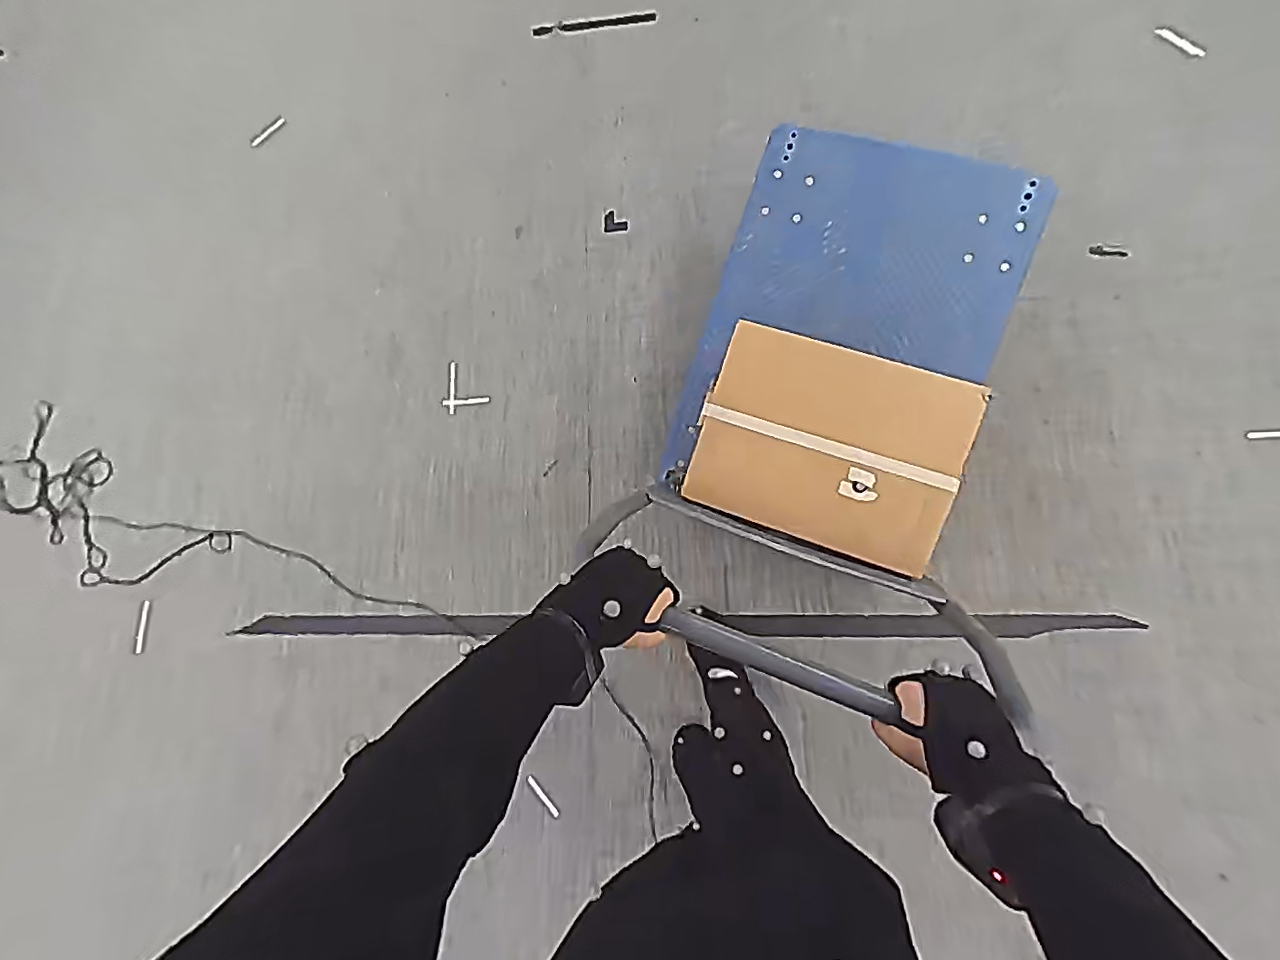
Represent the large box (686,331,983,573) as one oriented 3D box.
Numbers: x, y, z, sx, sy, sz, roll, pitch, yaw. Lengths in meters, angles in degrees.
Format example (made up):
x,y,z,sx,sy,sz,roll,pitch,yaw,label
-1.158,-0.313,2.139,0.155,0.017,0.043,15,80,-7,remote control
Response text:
x,y,z,sx,sy,sz,roll,pitch,yaw,label
0.334,-0.054,1.034,0.408,0.320,0.320,19,96,11,large box
